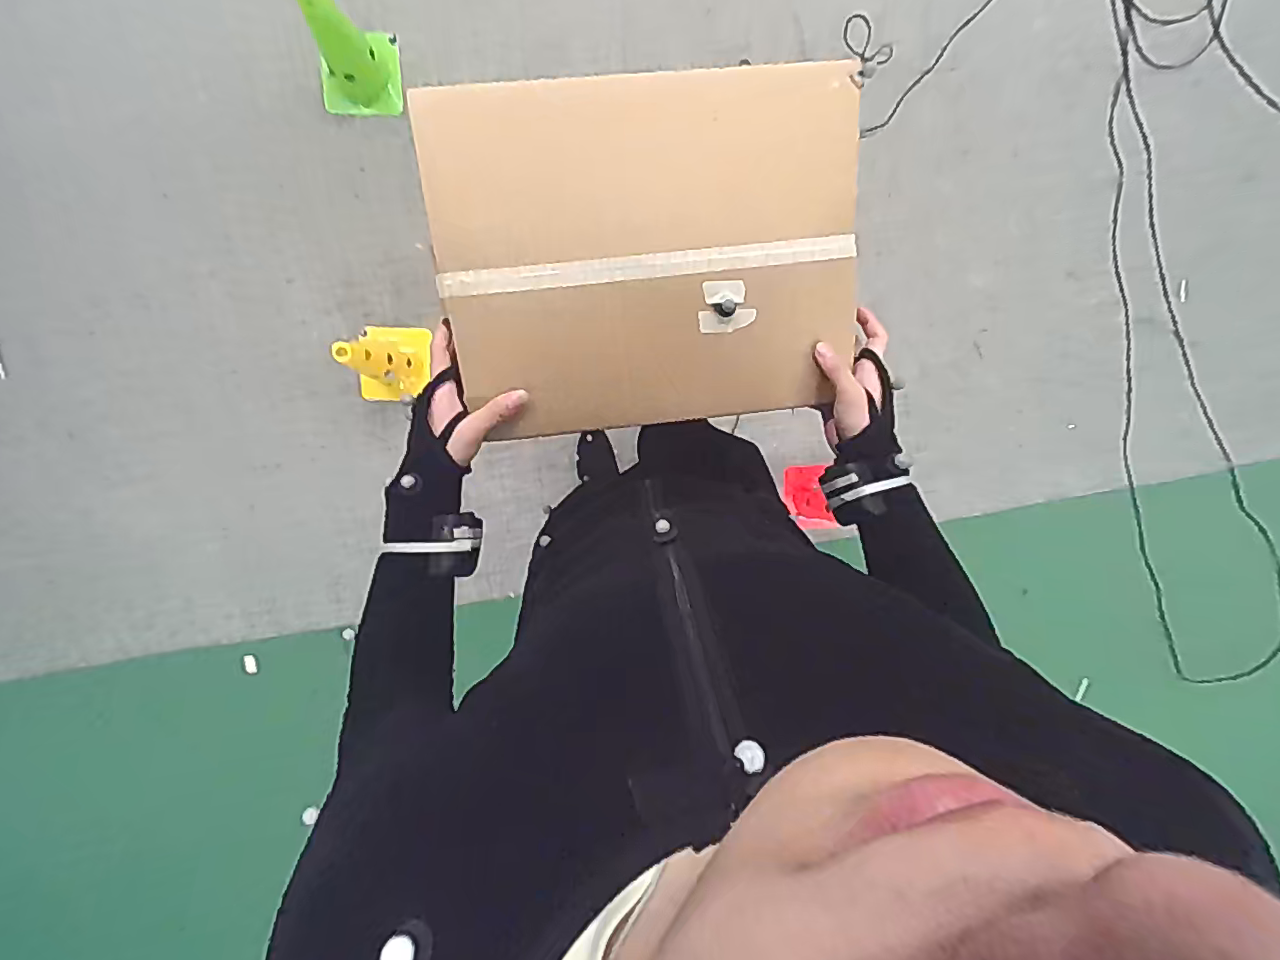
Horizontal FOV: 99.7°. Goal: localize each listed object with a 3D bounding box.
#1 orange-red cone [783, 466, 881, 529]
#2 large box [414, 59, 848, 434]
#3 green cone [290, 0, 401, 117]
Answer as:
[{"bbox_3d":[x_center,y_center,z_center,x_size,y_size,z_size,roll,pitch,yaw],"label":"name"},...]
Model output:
[{"bbox_3d":[0.563,0.078,1.513,0.199,0.360,0.198,-2,98,-7],"label":"orange-red cone"},{"bbox_3d":[-0.007,-0.261,0.671,0.408,0.320,0.320,-7,109,-5],"label":"large box"},{"bbox_3d":[-0.722,-1.039,1.250,0.200,0.368,0.202,-3,99,-5],"label":"green cone"}]
